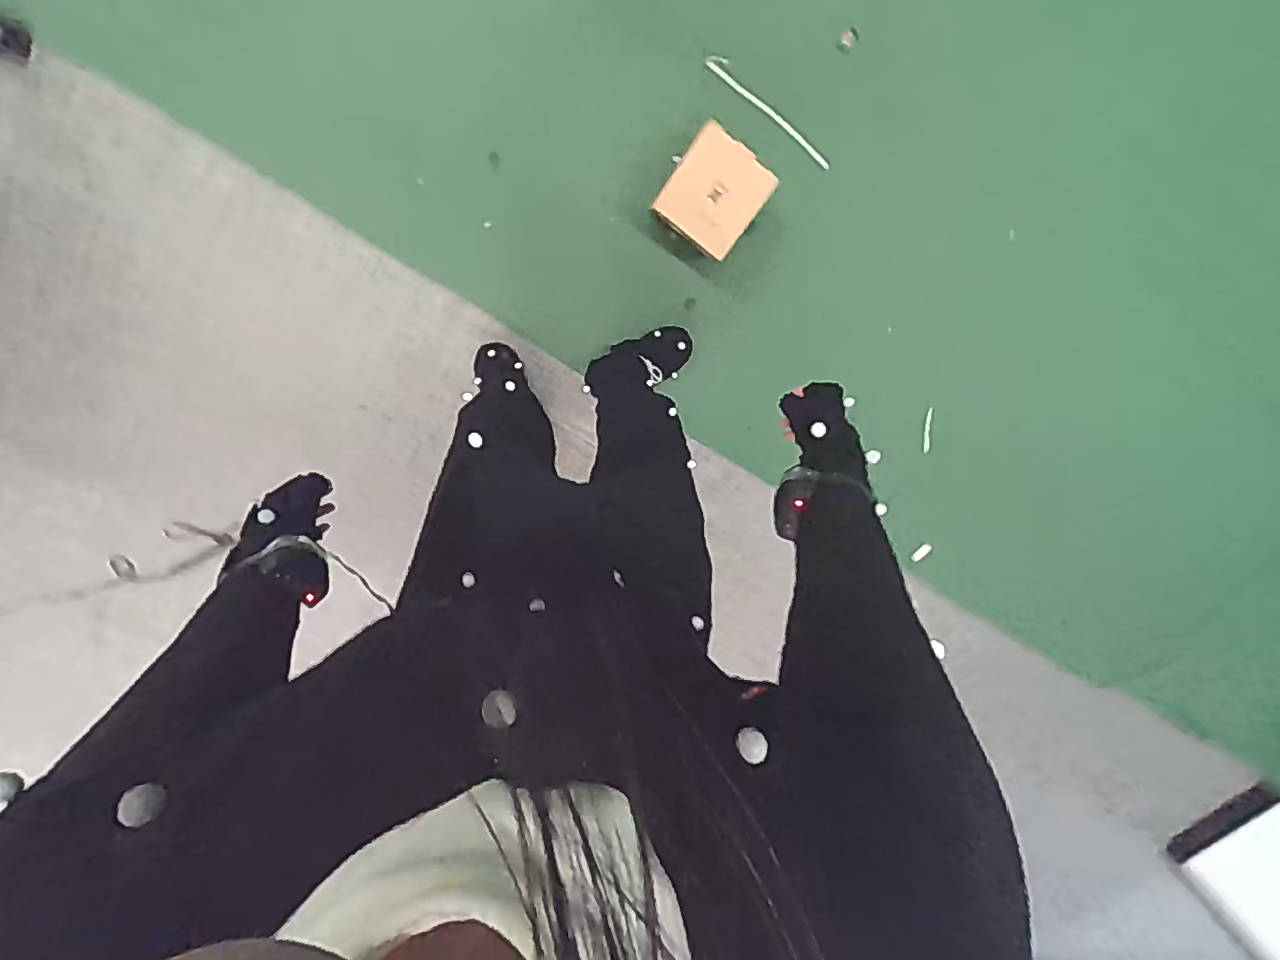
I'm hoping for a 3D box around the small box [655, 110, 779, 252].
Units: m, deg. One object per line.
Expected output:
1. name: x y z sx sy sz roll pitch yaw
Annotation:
1. small box: 0.139 -0.583 1.071 0.168 0.176 0.179 33 111 -16
